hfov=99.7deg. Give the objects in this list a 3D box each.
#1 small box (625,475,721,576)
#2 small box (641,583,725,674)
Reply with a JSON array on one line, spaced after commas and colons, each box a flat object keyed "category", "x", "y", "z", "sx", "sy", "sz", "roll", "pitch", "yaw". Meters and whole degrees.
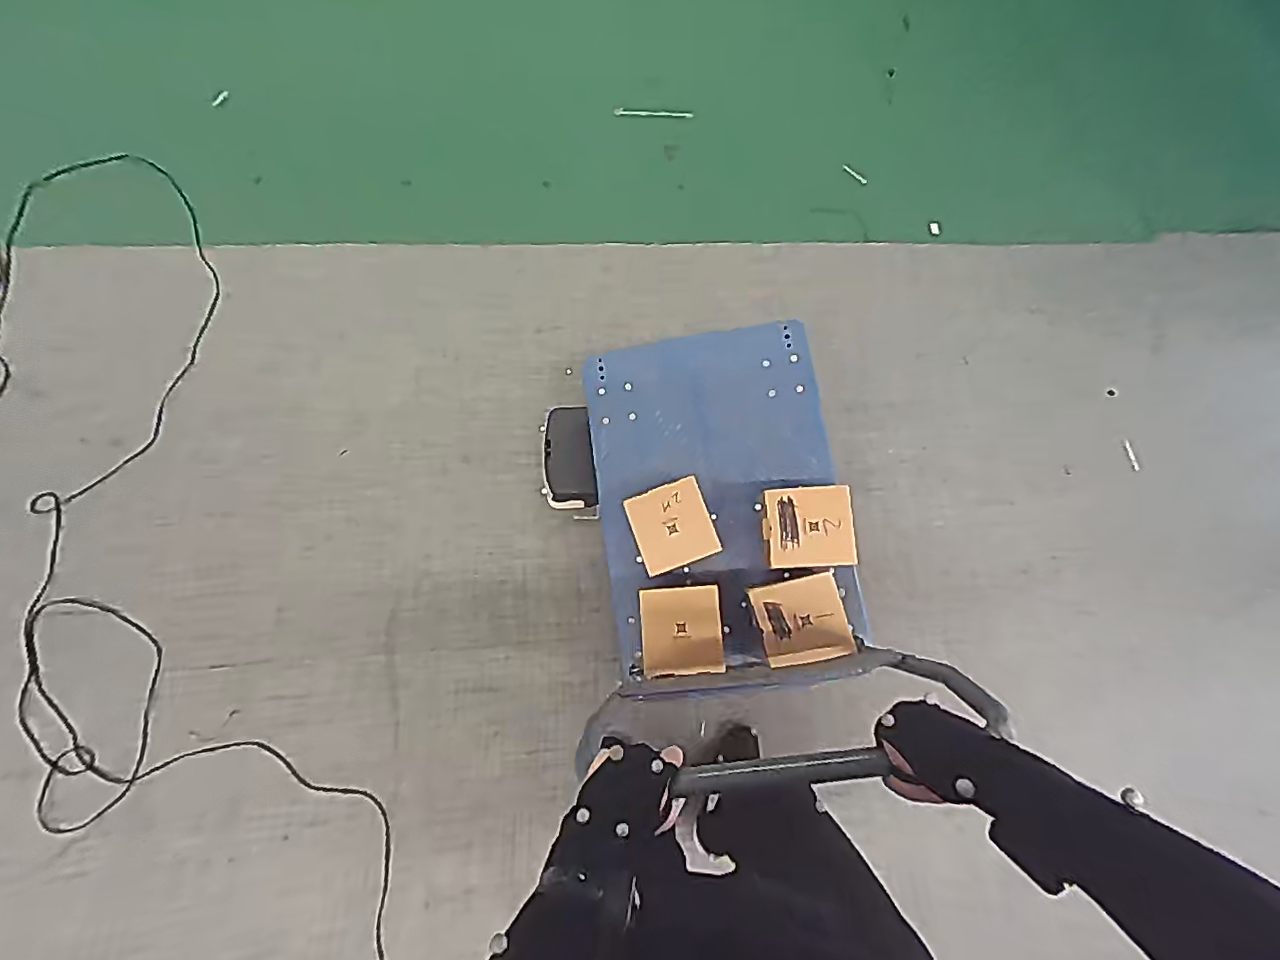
[{"category": "small box", "x": 0.078, "y": 0.107, "z": 1.224, "sx": 0.168, "sy": 0.176, "sz": 0.179, "roll": -20, "pitch": 78, "yaw": 2}, {"category": "small box", "x": 0.094, "y": 0.318, "z": 1.186, "sx": 0.168, "sy": 0.176, "sz": 0.179, "roll": -4, "pitch": 81, "yaw": 6}]
